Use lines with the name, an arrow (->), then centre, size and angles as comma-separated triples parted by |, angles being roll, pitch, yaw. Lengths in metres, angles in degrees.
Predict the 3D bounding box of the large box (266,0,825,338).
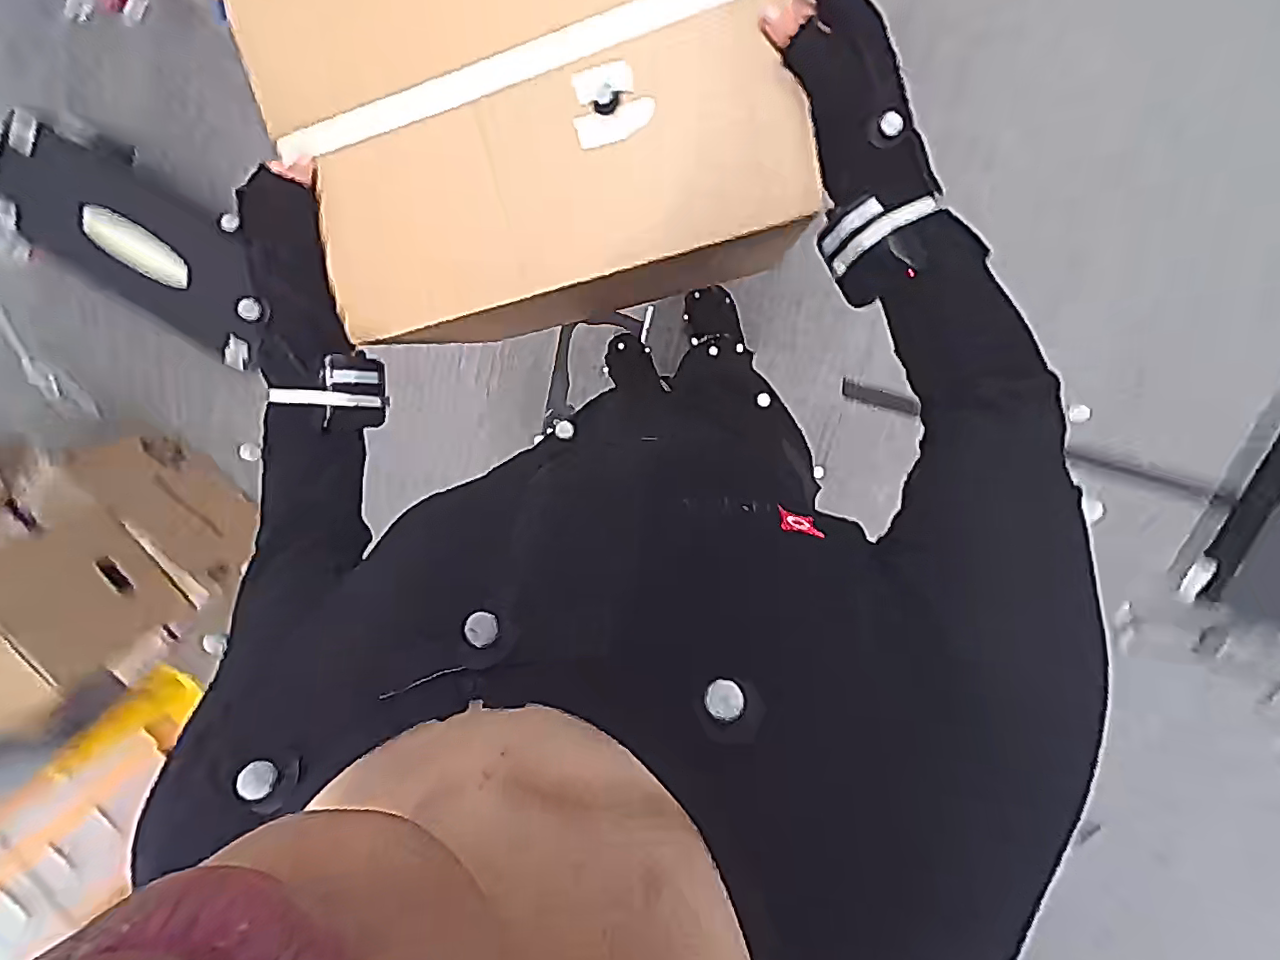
large box -> -0.065, -0.351, 0.561 | 0.408, 0.320, 0.320 | -11, 102, 10
